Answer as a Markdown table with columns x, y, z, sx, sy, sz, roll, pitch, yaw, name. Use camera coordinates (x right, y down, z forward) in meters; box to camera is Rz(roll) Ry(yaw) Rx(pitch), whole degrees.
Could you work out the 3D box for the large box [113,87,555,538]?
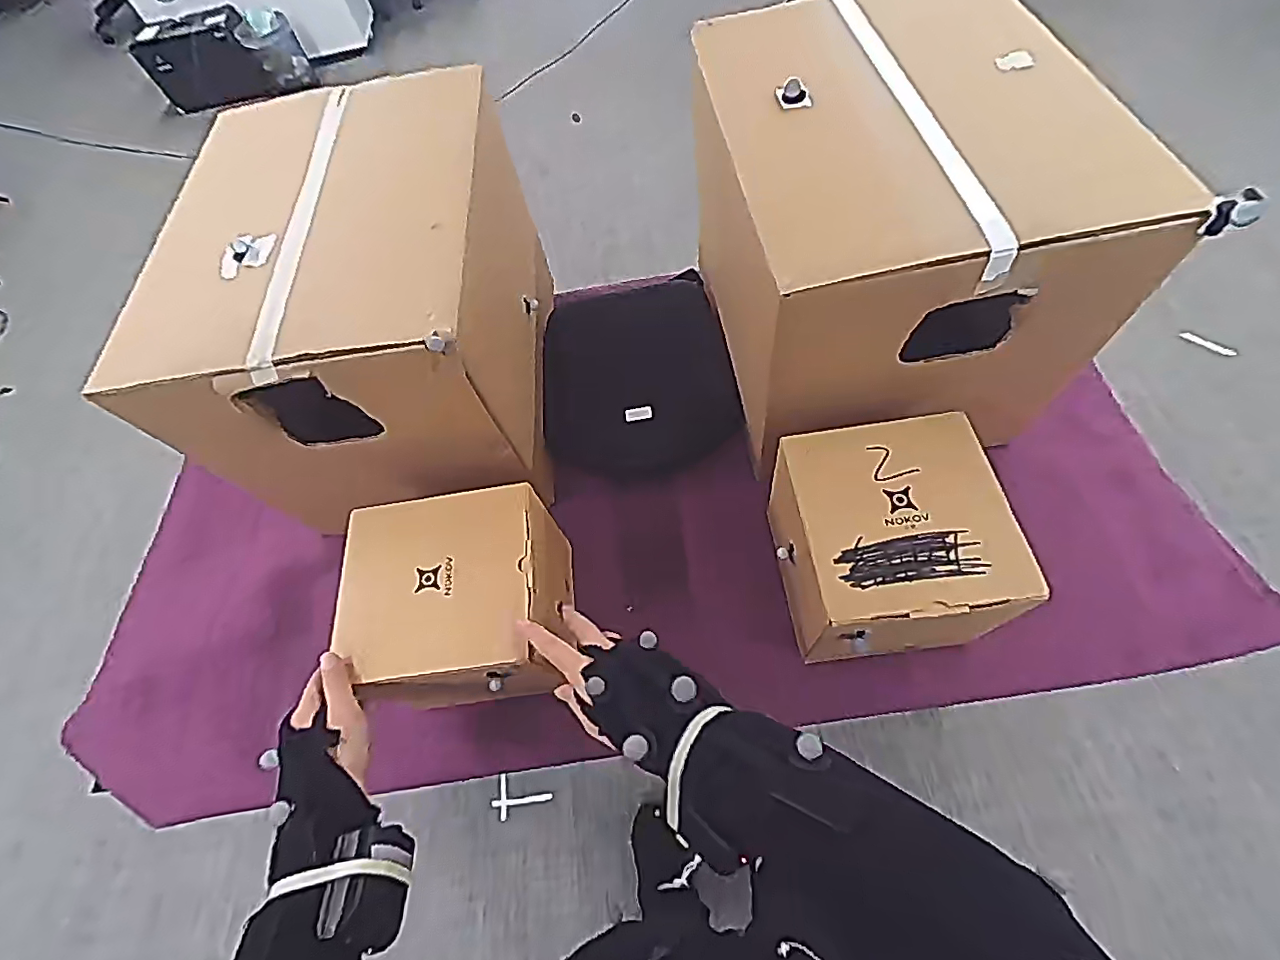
| x | y | z | sx | sy | sz | roll | pitch | yaw | name |
| --- | --- | --- | --- | --- | --- | --- | --- | --- | --- |
| -0.295 | -0.182 | 0.661 | 0.320 | 0.320 | 0.408 | -8 | 63 | 4 | large box |
